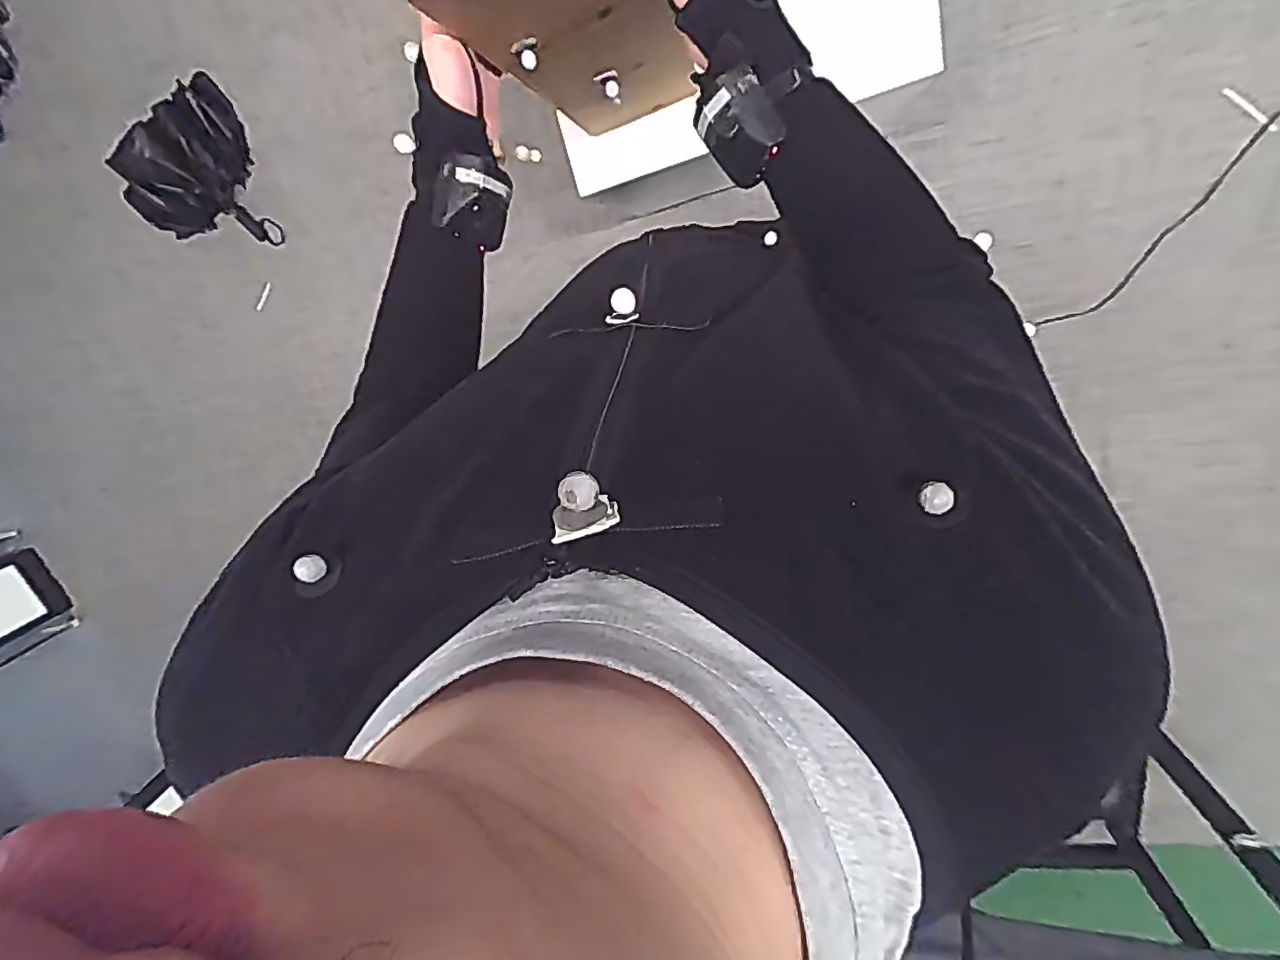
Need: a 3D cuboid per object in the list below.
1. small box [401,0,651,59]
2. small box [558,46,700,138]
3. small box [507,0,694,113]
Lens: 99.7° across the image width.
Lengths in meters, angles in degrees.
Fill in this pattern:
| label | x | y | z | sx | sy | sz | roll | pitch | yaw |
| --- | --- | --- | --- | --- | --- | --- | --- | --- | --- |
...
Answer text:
| label | x | y | z | sx | sy | sz | roll | pitch | yaw |
| --- | --- | --- | --- | --- | --- | --- | --- | --- | --- |
| small box | -0.087 | -0.429 | 0.368 | 0.168 | 0.176 | 0.179 | -13 | 107 | 18 |
| small box | -0.028 | -0.560 | 0.666 | 0.168 | 0.176 | 0.179 | -13 | 109 | 15 |
| small box | -0.054 | -0.496 | 0.519 | 0.168 | 0.176 | 0.179 | -15 | 109 | 17 |
